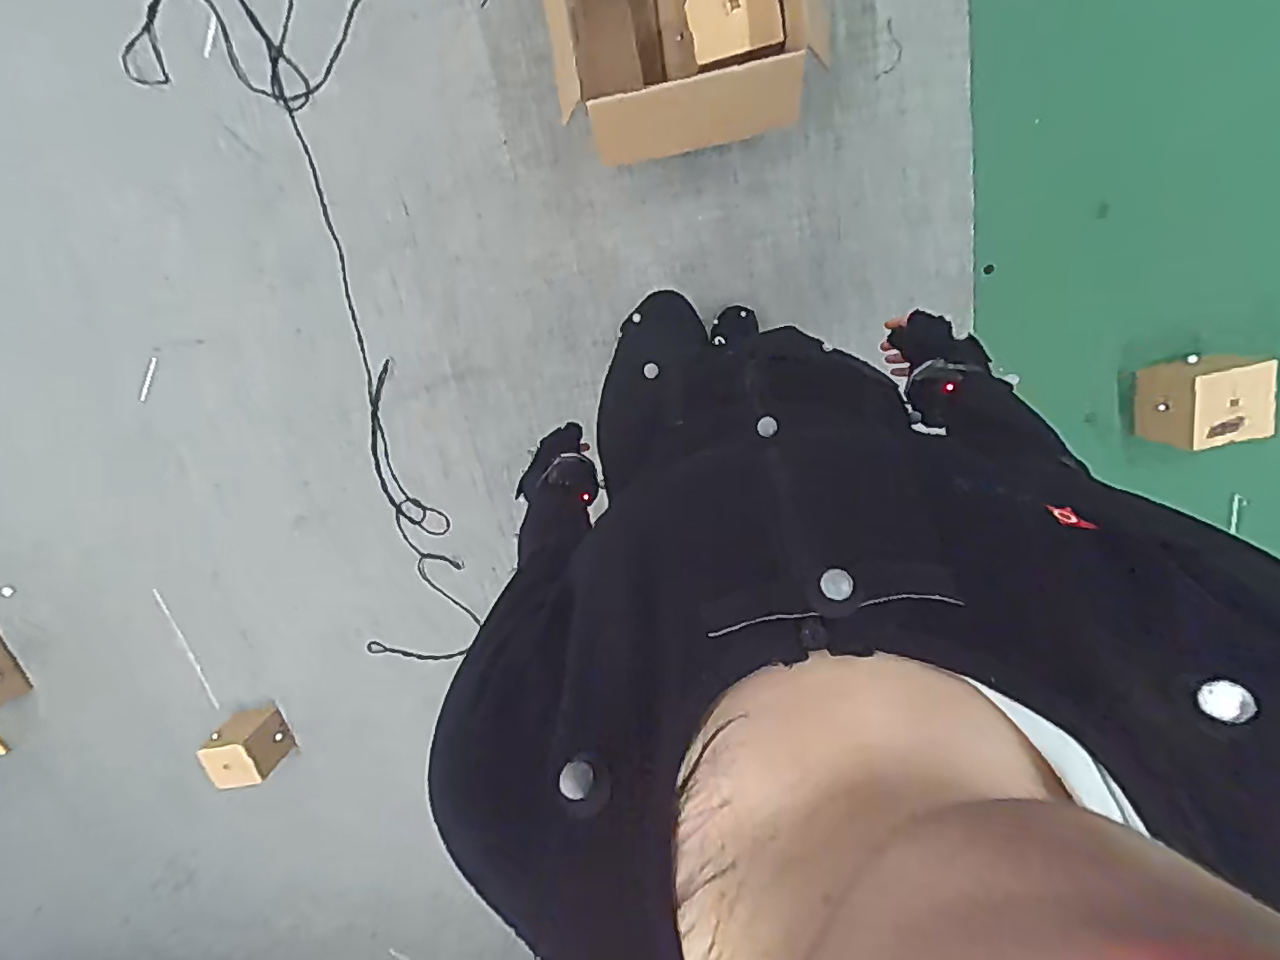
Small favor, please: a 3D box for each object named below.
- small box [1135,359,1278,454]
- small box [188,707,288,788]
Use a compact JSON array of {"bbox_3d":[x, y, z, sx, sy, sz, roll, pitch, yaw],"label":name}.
[{"bbox_3d":[1.323,-0.178,1.277,0.168,0.176,0.179,-12,106,8],"label":"small box"},{"bbox_3d":[-1.336,0.890,1.808,0.179,0.176,0.168,-11,107,7],"label":"small box"}]
